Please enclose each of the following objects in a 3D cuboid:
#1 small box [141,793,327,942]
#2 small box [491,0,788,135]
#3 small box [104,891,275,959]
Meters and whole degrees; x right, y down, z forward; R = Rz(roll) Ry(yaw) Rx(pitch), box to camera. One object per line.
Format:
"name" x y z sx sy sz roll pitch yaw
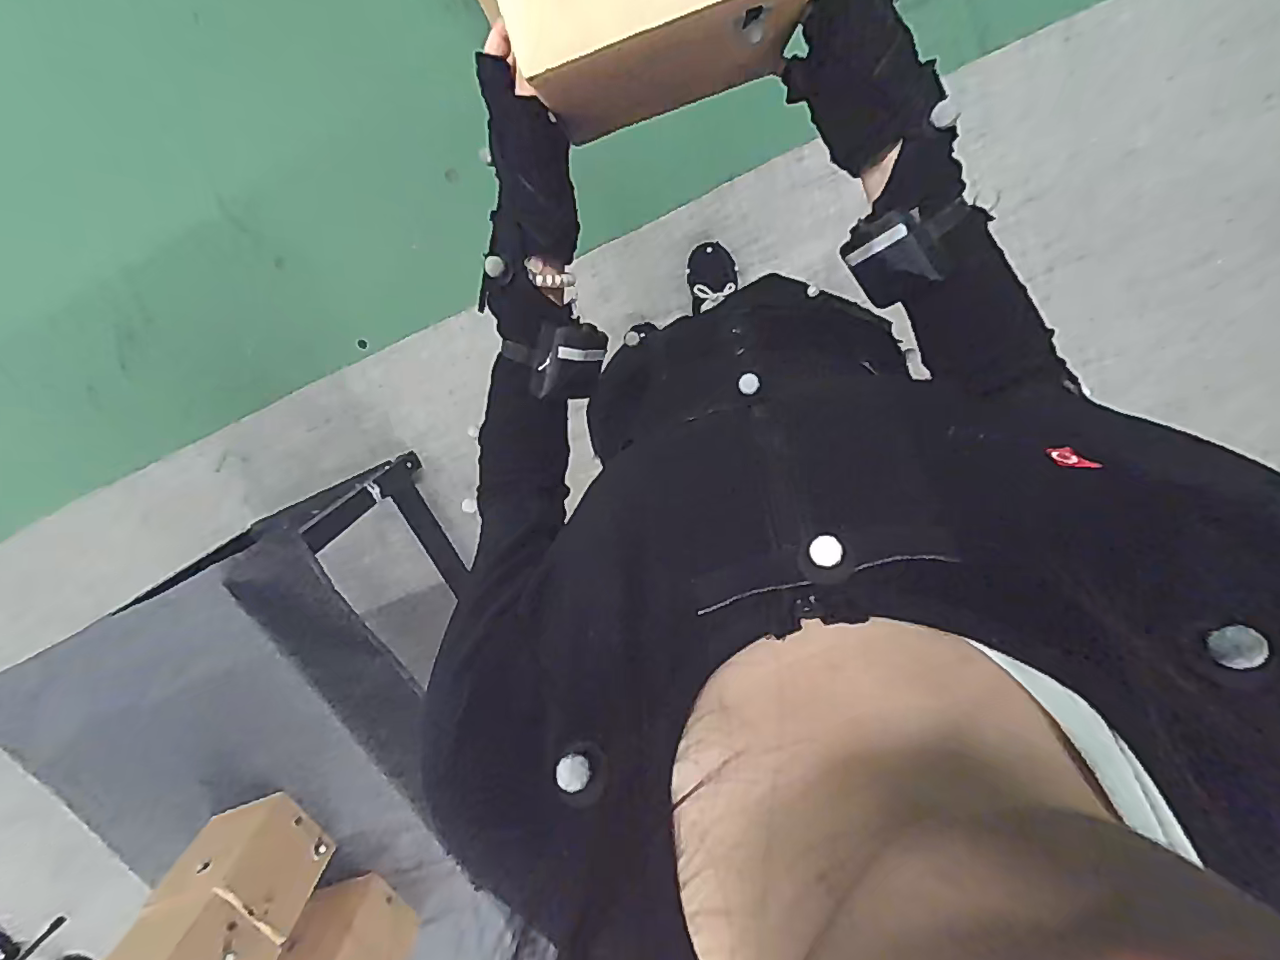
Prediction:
"small box" -0.702 0.699 0.965 0.179 0.176 0.168 -23 109 11
"small box" -0.006 -0.347 0.335 0.179 0.176 0.168 -16 109 8
"small box" -0.715 0.775 0.820 0.179 0.176 0.168 -25 109 10
